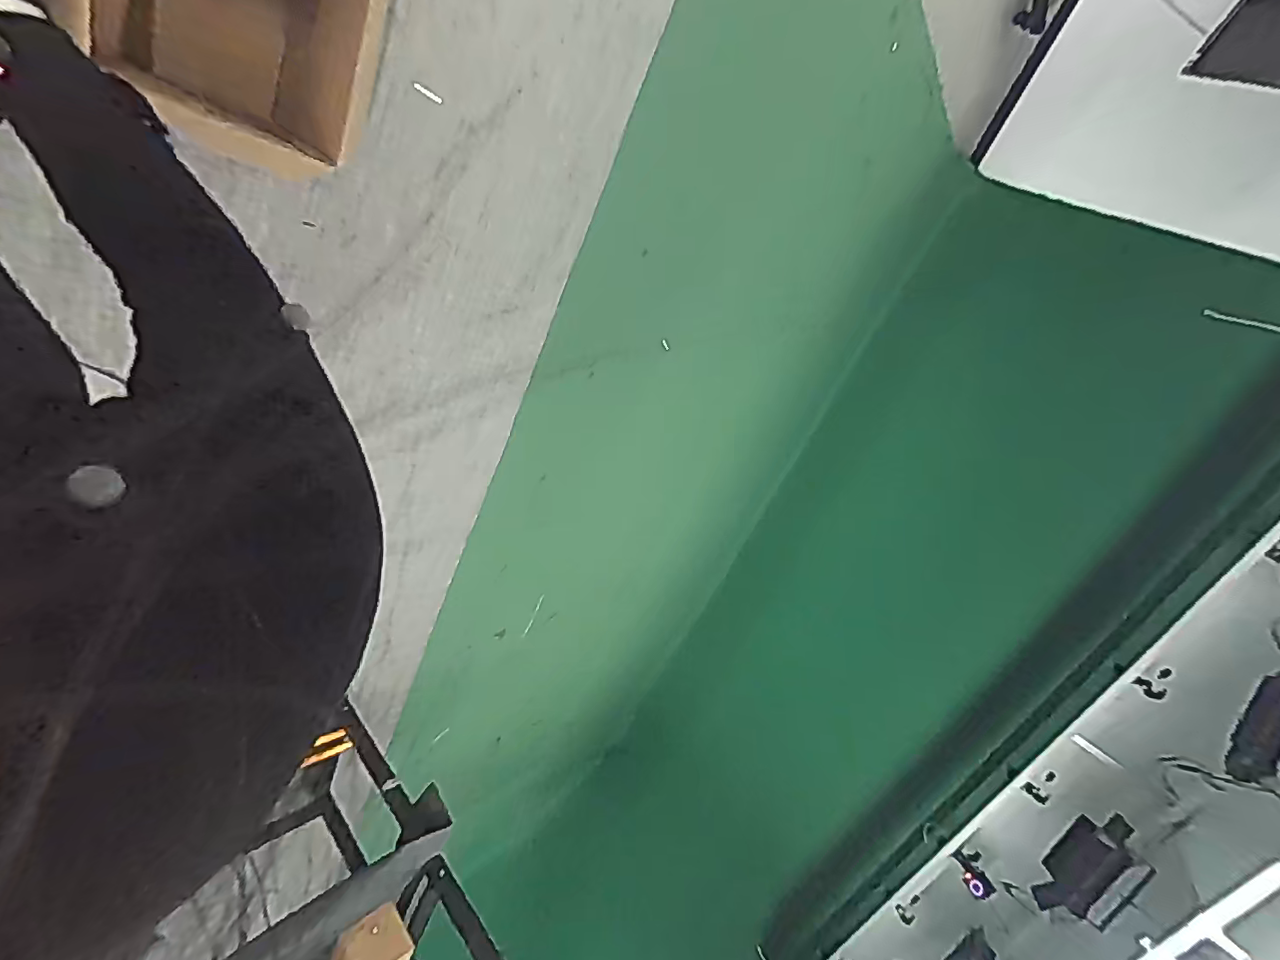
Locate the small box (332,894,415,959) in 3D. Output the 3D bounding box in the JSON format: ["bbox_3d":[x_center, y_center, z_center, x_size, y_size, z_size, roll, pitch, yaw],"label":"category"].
[{"bbox_3d":[-0.857,1.488,1.730,0.168,0.176,0.179,-6,129,-54],"label":"small box"}]
